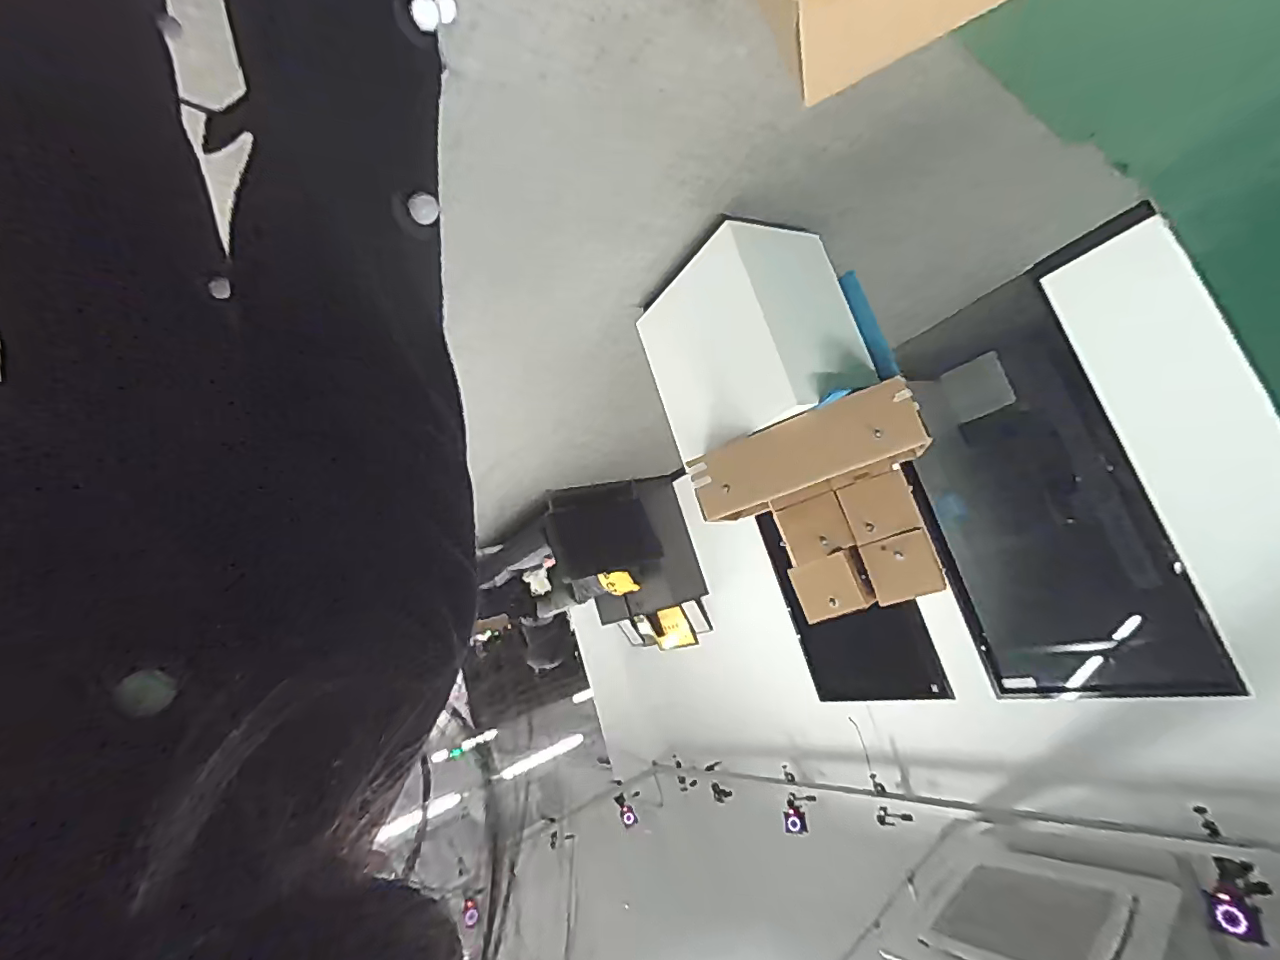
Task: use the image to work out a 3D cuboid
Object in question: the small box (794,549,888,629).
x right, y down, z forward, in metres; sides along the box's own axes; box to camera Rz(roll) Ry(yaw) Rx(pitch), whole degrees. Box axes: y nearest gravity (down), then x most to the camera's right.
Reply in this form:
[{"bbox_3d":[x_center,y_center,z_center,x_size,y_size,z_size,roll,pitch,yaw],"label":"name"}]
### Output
[{"bbox_3d":[0.572,0.303,1.544,0.179,0.176,0.168,-30,163,34],"label":"small box"}]
